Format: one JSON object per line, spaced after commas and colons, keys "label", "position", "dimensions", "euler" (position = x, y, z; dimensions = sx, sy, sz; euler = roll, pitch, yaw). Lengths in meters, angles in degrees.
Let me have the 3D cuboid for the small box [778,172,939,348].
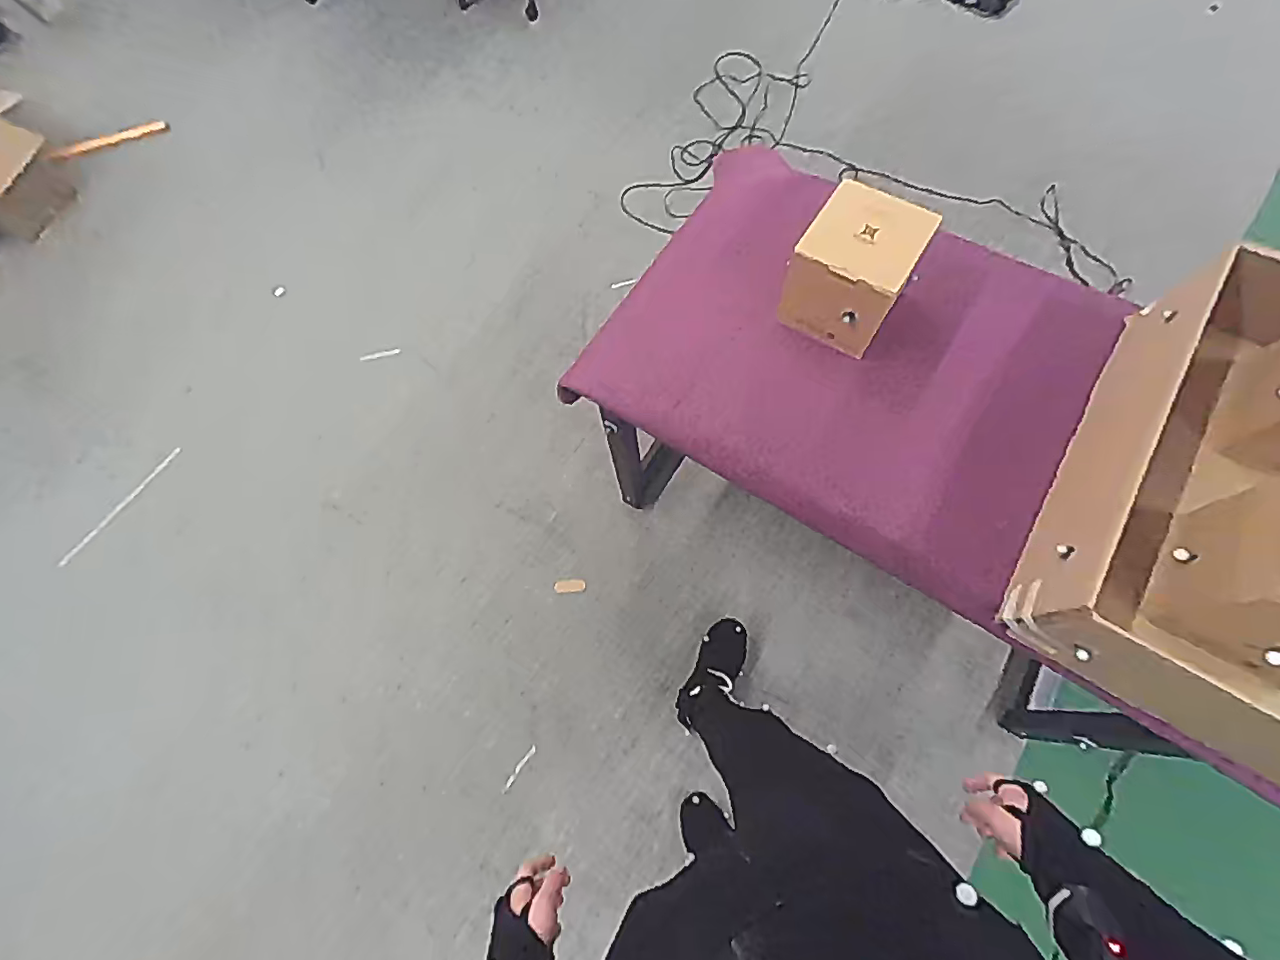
{"label": "small box", "position": [0.343, -0.351, 0.888], "dimensions": [0.168, 0.176, 0.179], "euler": [32, 74, 13]}
